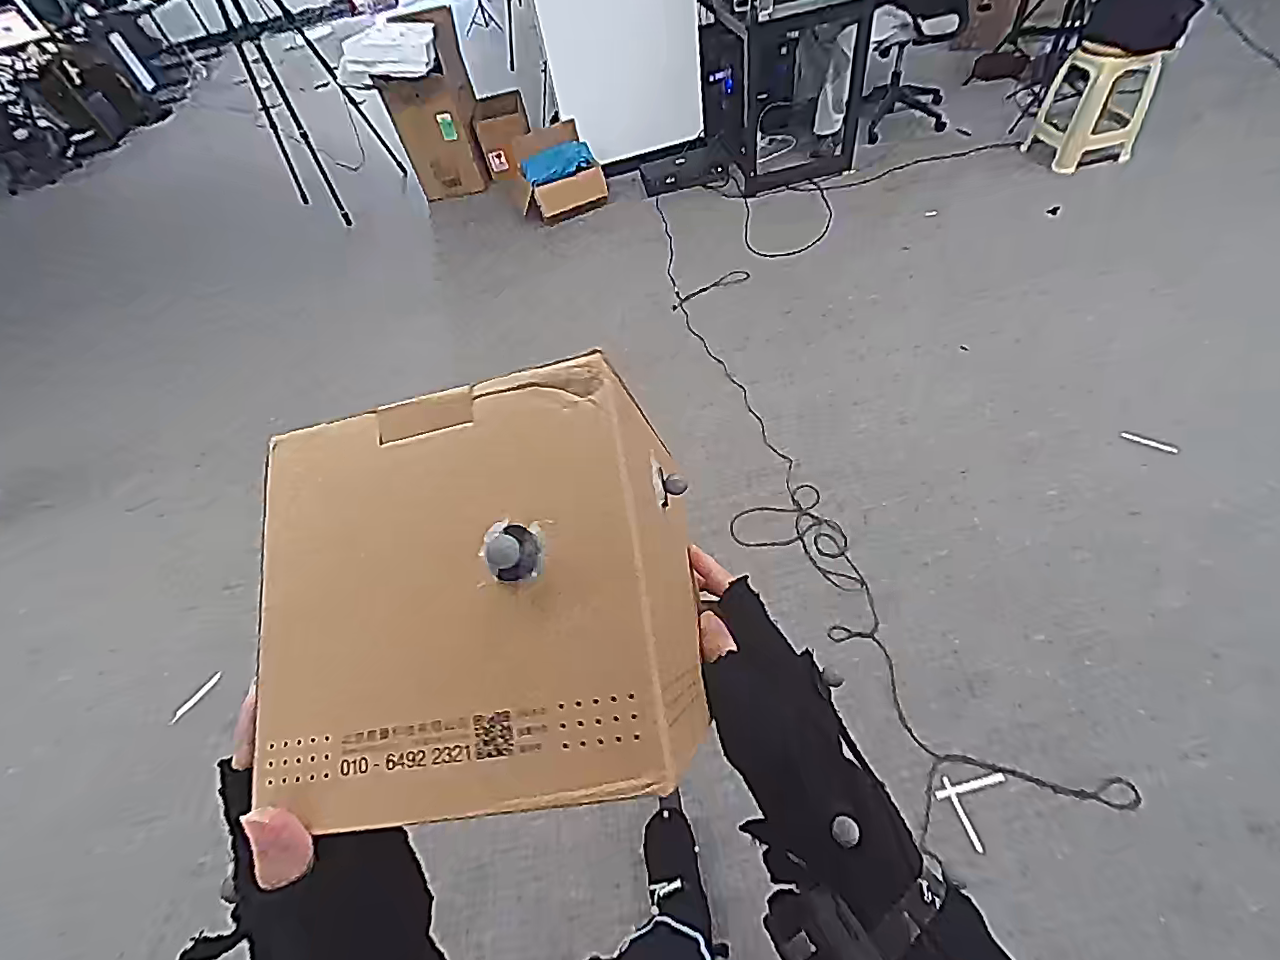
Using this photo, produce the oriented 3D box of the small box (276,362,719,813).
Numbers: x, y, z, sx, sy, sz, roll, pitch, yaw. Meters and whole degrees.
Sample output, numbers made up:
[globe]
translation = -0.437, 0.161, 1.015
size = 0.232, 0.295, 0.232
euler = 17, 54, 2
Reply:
[small box]
translation = -0.059, 0.066, 0.296
size = 0.168, 0.179, 0.176
euler = -13, 73, 13
